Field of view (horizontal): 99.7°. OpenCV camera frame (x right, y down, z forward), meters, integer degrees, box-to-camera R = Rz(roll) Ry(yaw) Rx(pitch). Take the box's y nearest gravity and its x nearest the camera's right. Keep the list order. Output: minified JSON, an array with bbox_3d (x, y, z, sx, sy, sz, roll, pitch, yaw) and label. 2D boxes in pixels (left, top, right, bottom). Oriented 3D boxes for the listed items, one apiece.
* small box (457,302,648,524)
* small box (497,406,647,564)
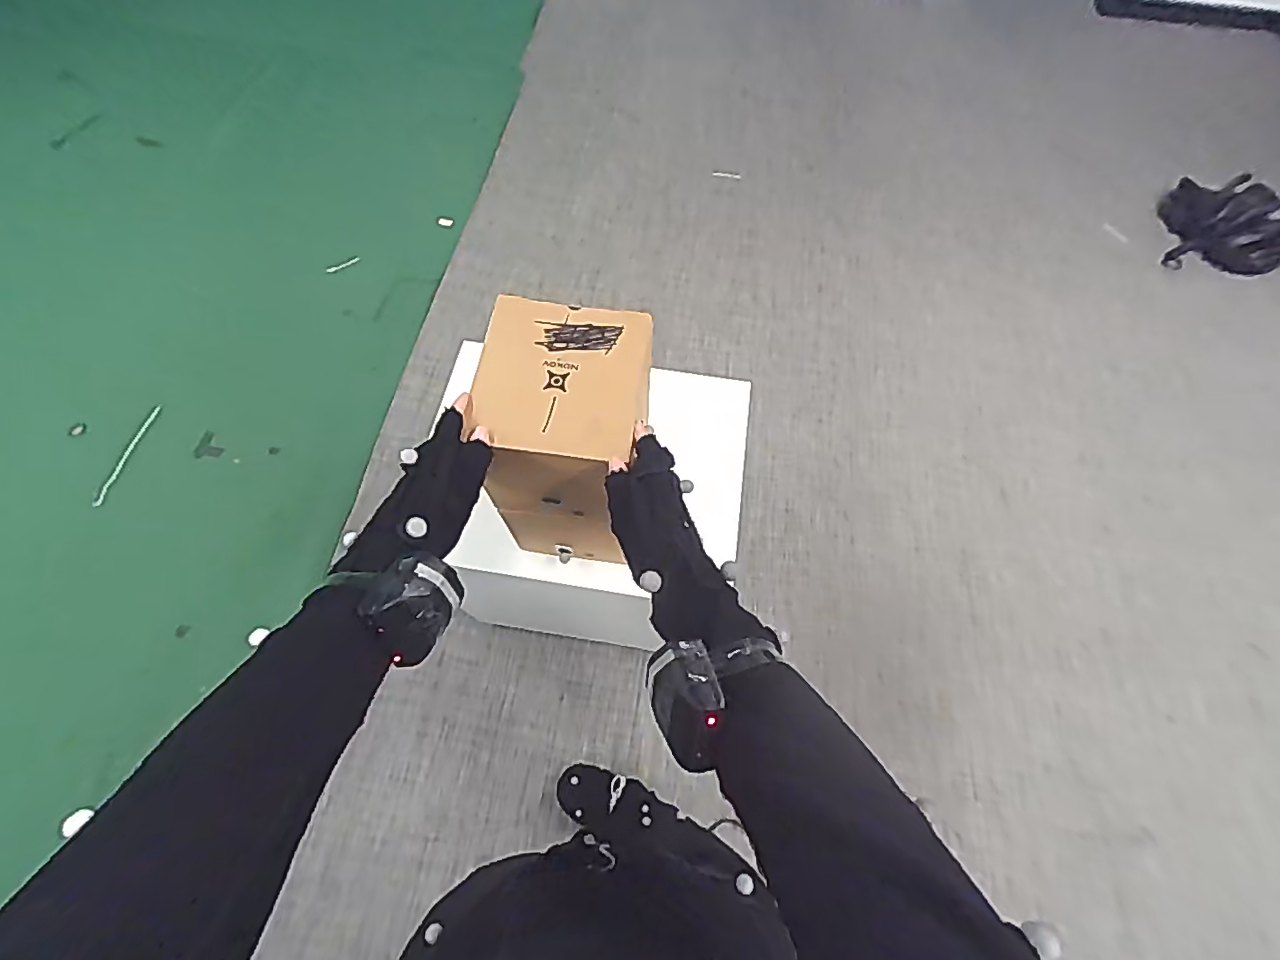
[{"bbox_3d":[-0.082,-0.068,0.604,0.168,0.176,0.179,5,64,2],"label":"small box"},{"bbox_3d":[-0.083,0.004,0.751,0.168,0.176,0.179,6,66,3],"label":"small box"}]
